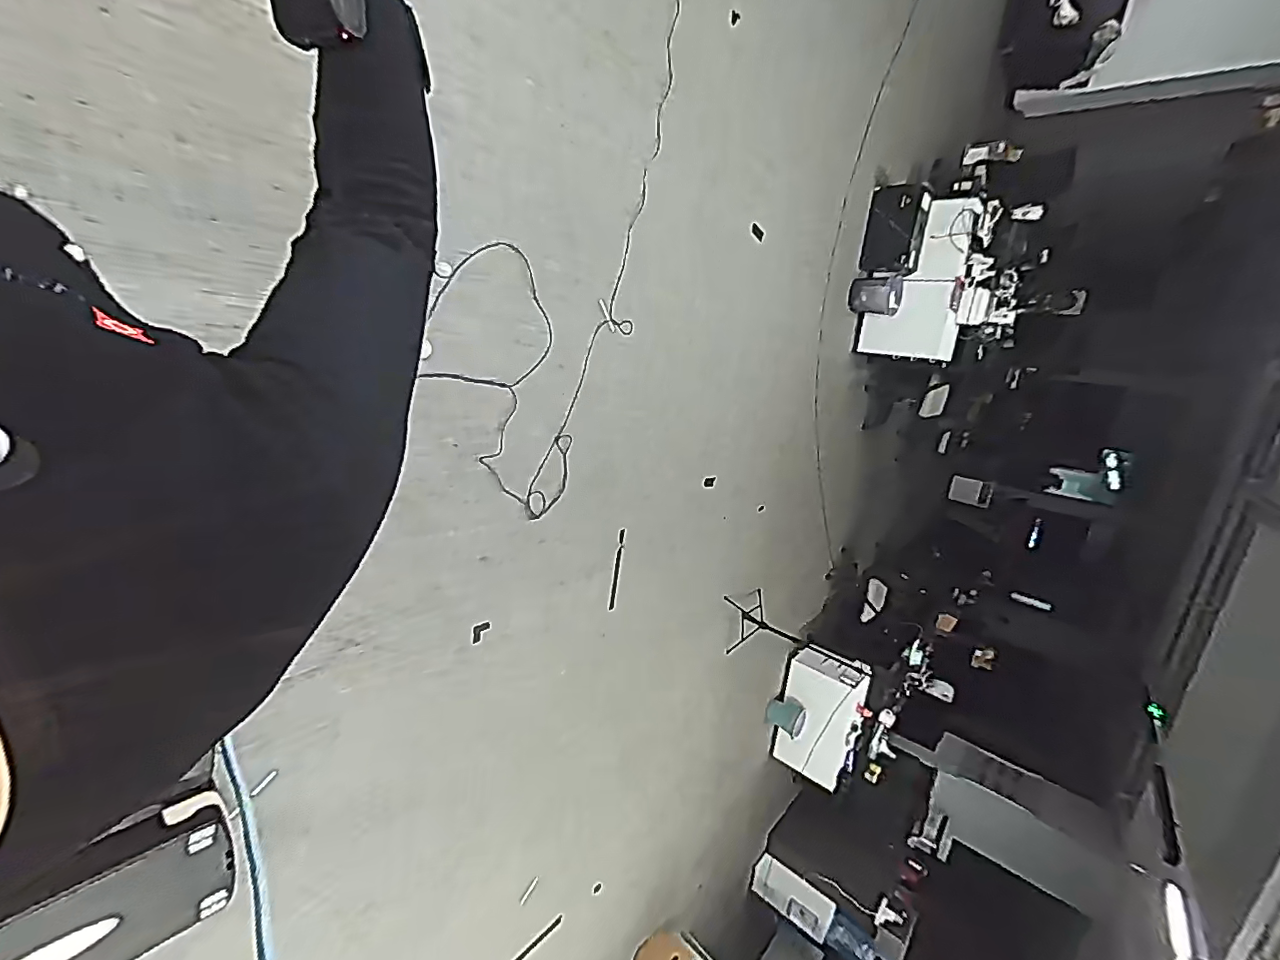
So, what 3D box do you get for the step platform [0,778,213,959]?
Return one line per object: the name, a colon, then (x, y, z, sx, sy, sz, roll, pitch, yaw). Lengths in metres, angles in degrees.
step platform: (-1.296, 0.932, 1.088, 0.684, 0.204, 0.286, -12, 113, -47)
